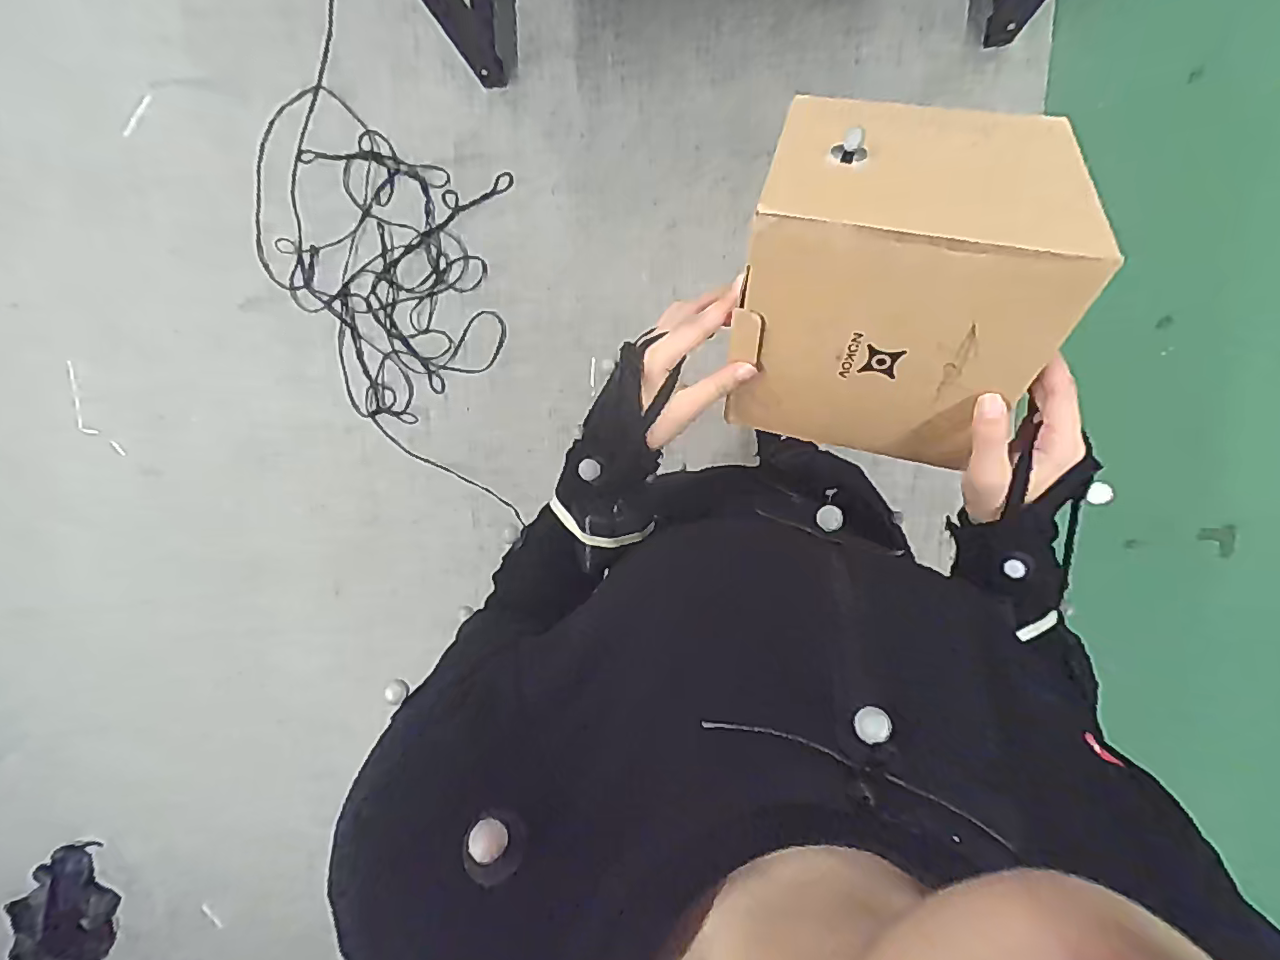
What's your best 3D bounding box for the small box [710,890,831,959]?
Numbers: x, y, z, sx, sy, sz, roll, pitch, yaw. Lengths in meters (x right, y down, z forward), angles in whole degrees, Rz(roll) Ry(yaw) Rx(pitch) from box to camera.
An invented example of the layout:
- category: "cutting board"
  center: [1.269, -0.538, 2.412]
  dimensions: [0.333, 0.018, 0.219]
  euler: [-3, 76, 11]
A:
- category: "small box"
  center: [0.187, 0.729, 0.758]
  dimensions: [0.168, 0.176, 0.179]
  euler: [-5, 97, 9]
